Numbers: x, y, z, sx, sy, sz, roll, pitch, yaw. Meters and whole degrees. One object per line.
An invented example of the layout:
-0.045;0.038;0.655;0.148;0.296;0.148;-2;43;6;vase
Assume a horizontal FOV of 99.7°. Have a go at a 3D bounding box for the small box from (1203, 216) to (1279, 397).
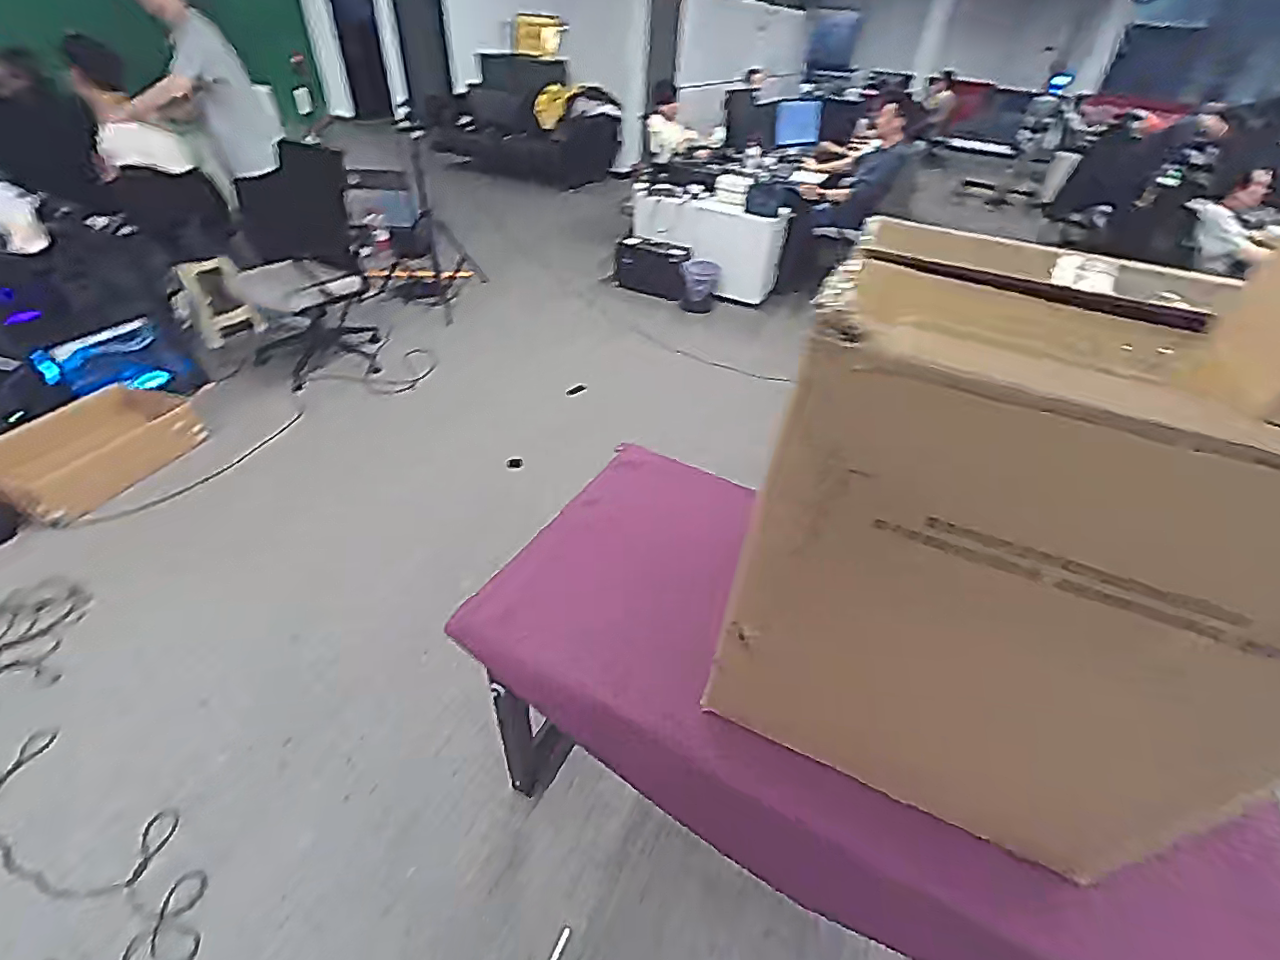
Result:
0.531;-0.128;0.345;0.168;0.176;0.179;22;42;20;small box
